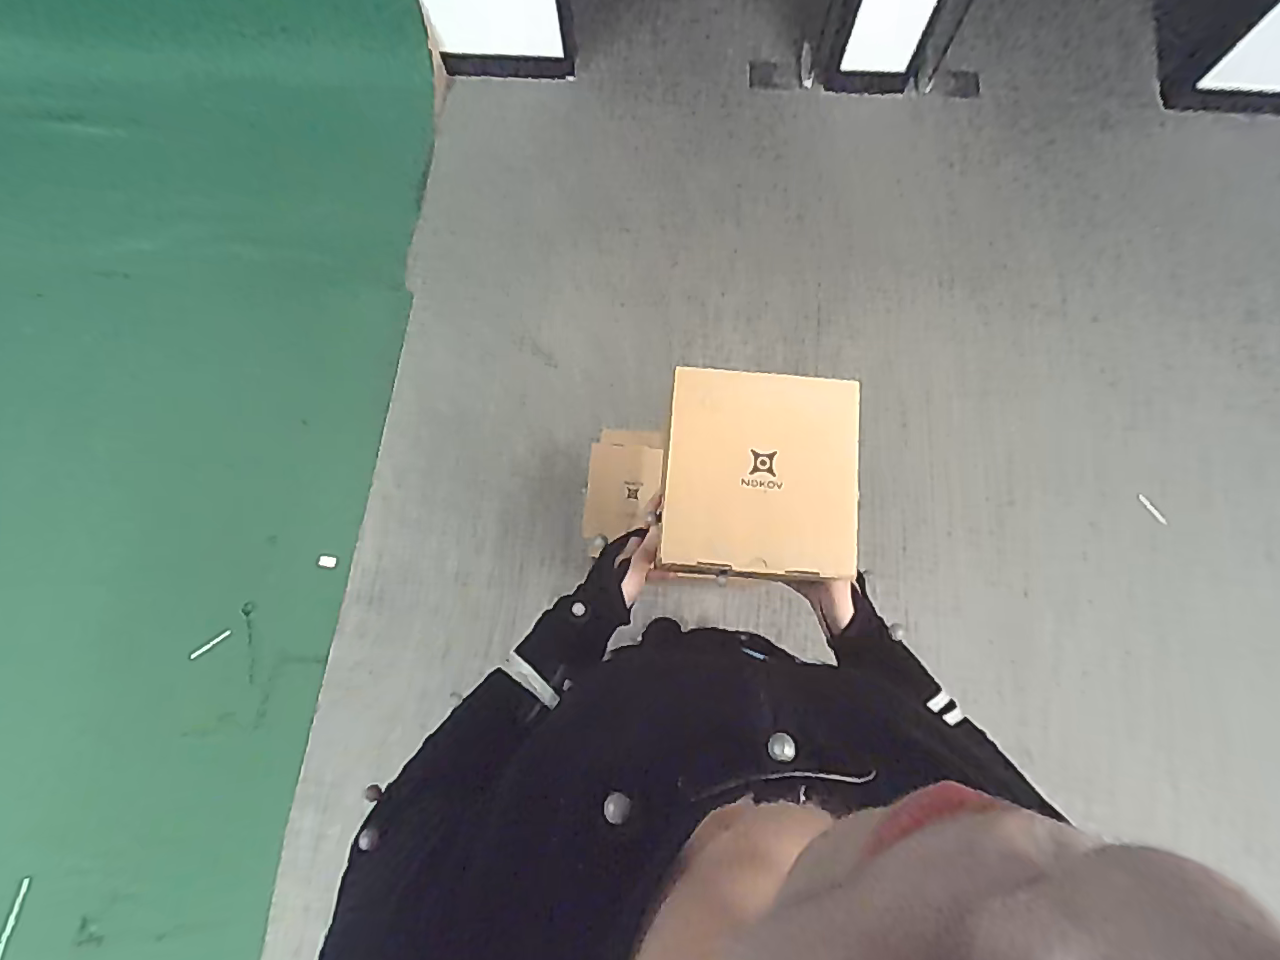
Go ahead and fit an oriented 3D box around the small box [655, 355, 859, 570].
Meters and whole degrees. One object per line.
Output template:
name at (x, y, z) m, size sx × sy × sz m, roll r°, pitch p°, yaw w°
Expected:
small box at (0.105, -0.005, 0.546) m, size 0.168 × 0.176 × 0.179 m, roll 5°, pitch 80°, yaw 0°
